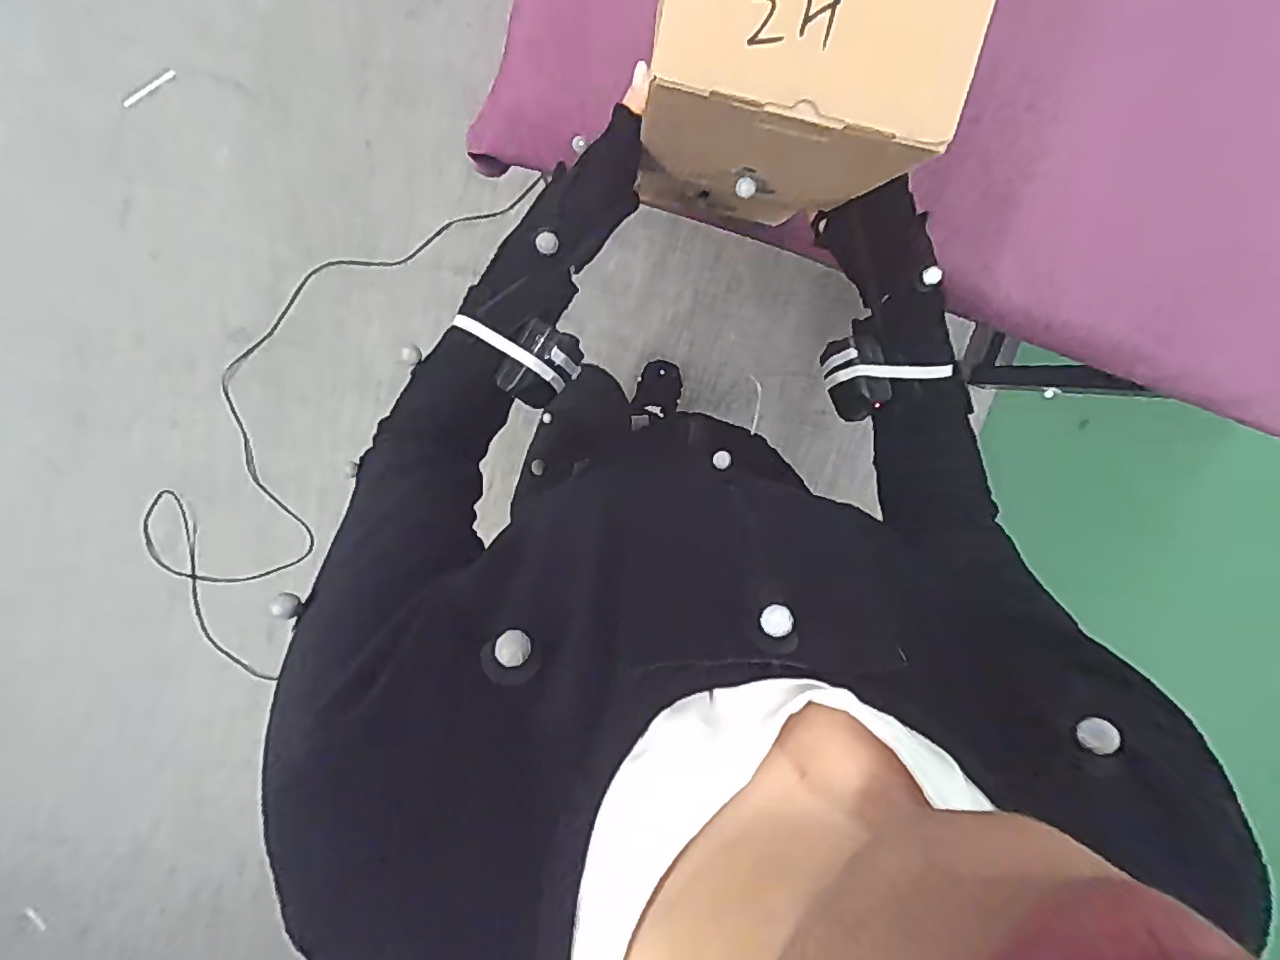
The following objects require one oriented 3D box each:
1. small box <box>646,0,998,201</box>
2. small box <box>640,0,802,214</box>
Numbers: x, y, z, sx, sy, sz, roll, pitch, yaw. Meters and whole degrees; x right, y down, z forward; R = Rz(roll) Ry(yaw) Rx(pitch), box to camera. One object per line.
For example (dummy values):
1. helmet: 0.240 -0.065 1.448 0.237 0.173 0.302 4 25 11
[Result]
1. small box: 0.100 -0.299 0.337 0.168 0.176 0.179 9 106 -6
2. small box: 0.095 -0.362 0.490 0.168 0.176 0.179 7 106 -6
